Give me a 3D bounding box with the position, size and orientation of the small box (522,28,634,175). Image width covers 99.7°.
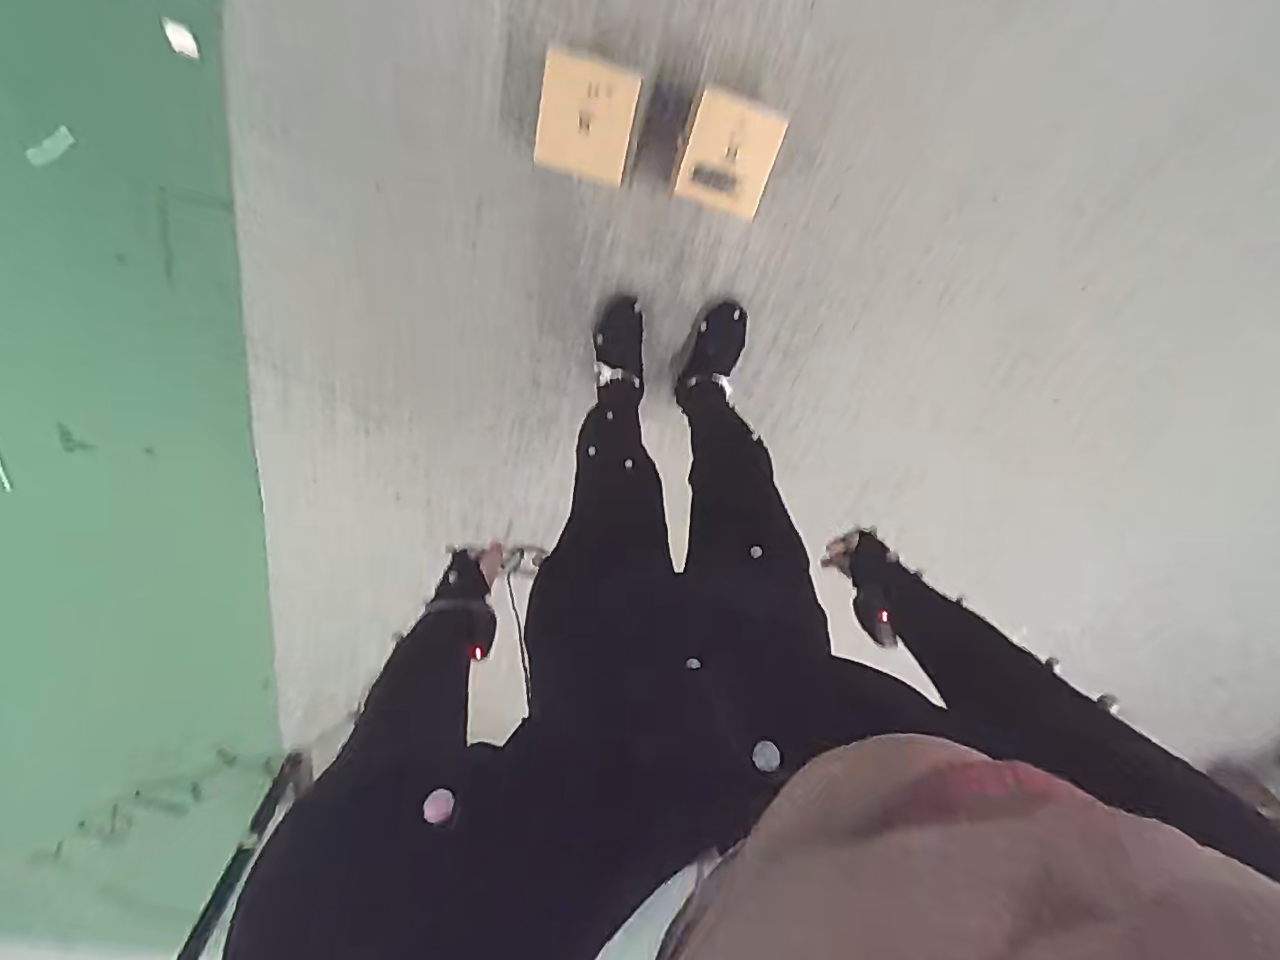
[{"bbox_3d":[-0.113,-0.693,1.006,0.168,0.176,0.179,13,120,-12],"label":"small box"}]
